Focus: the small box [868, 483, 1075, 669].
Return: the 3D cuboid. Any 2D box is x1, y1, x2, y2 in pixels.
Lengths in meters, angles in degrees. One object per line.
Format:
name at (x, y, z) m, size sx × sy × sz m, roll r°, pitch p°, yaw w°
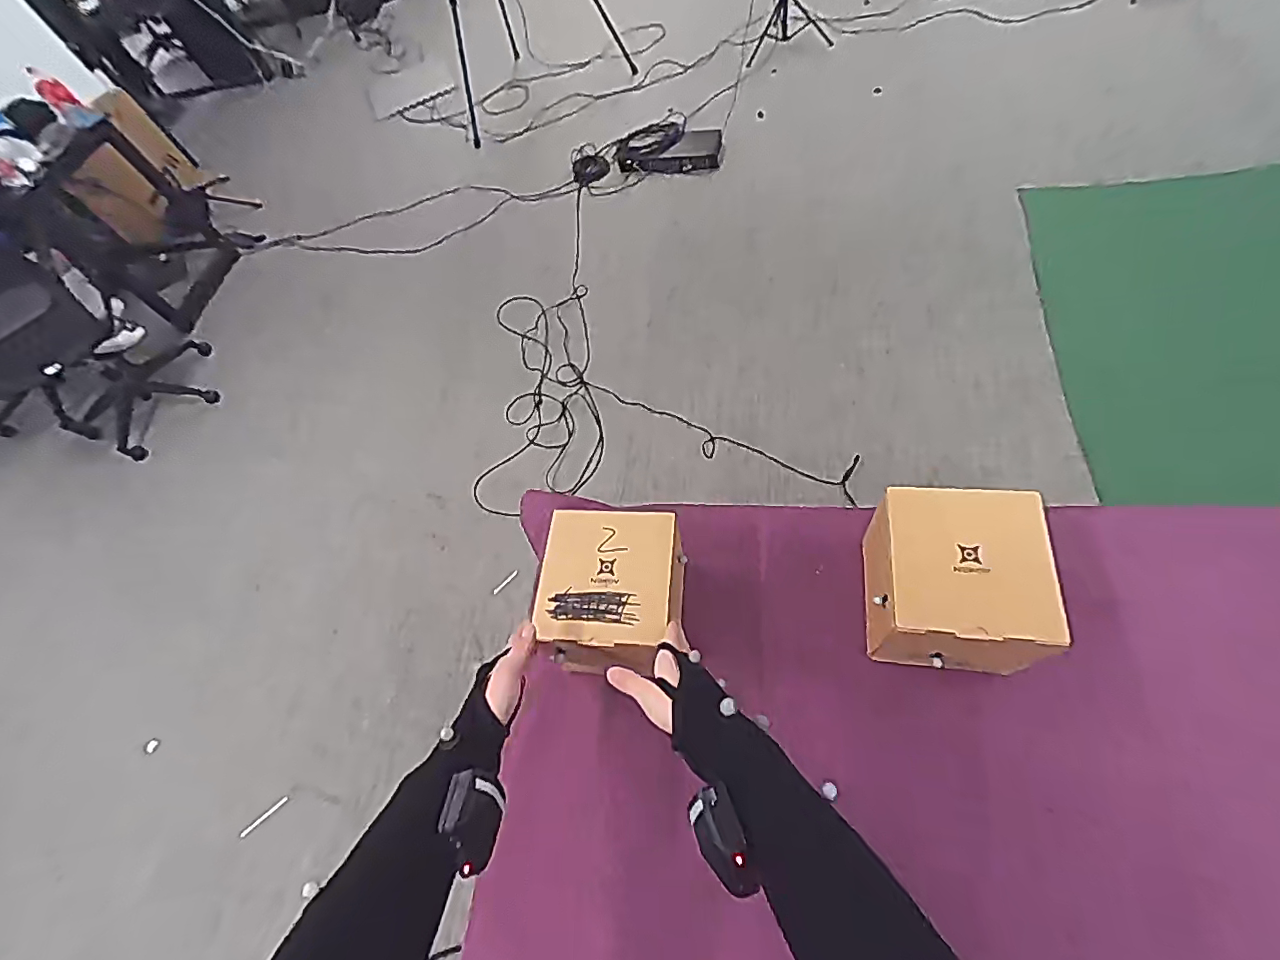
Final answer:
small box at (0.383, 0.121, 0.664) m, size 0.168 × 0.176 × 0.179 m, roll 2°, pitch 64°, yaw 13°
